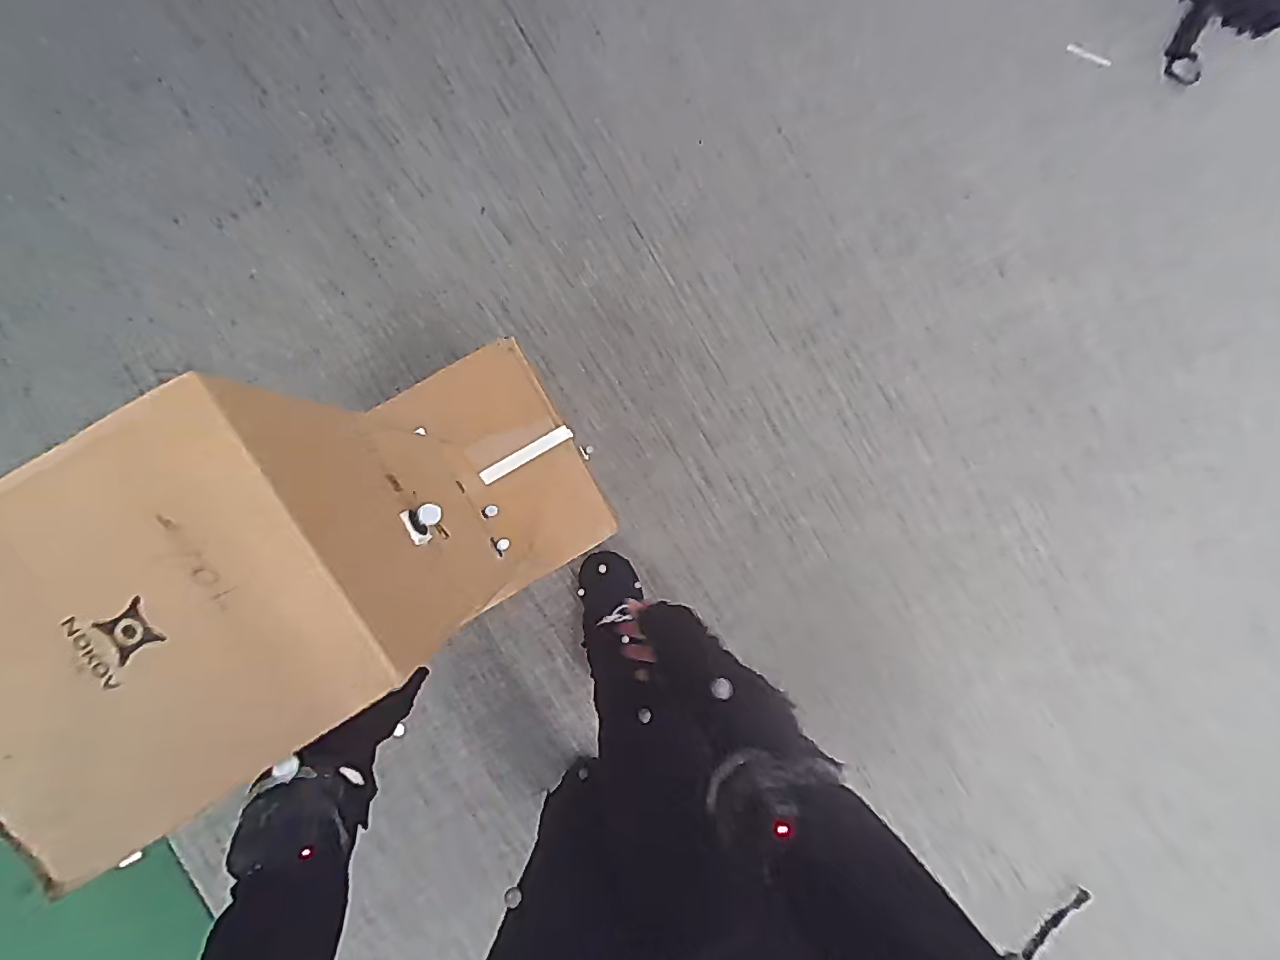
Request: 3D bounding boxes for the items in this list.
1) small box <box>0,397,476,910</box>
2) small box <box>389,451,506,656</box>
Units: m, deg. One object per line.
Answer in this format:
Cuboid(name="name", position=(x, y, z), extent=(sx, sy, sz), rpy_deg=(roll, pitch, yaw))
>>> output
Cuboid(name="small box", position=(-0.224, 0.075, 0.316), extent=(0.179, 0.176, 0.168), rpy_deg=(-33, 94, -3))
Cuboid(name="small box", position=(-0.236, 0.081, 0.477), extent=(0.179, 0.176, 0.168), rpy_deg=(-31, 92, -2))
